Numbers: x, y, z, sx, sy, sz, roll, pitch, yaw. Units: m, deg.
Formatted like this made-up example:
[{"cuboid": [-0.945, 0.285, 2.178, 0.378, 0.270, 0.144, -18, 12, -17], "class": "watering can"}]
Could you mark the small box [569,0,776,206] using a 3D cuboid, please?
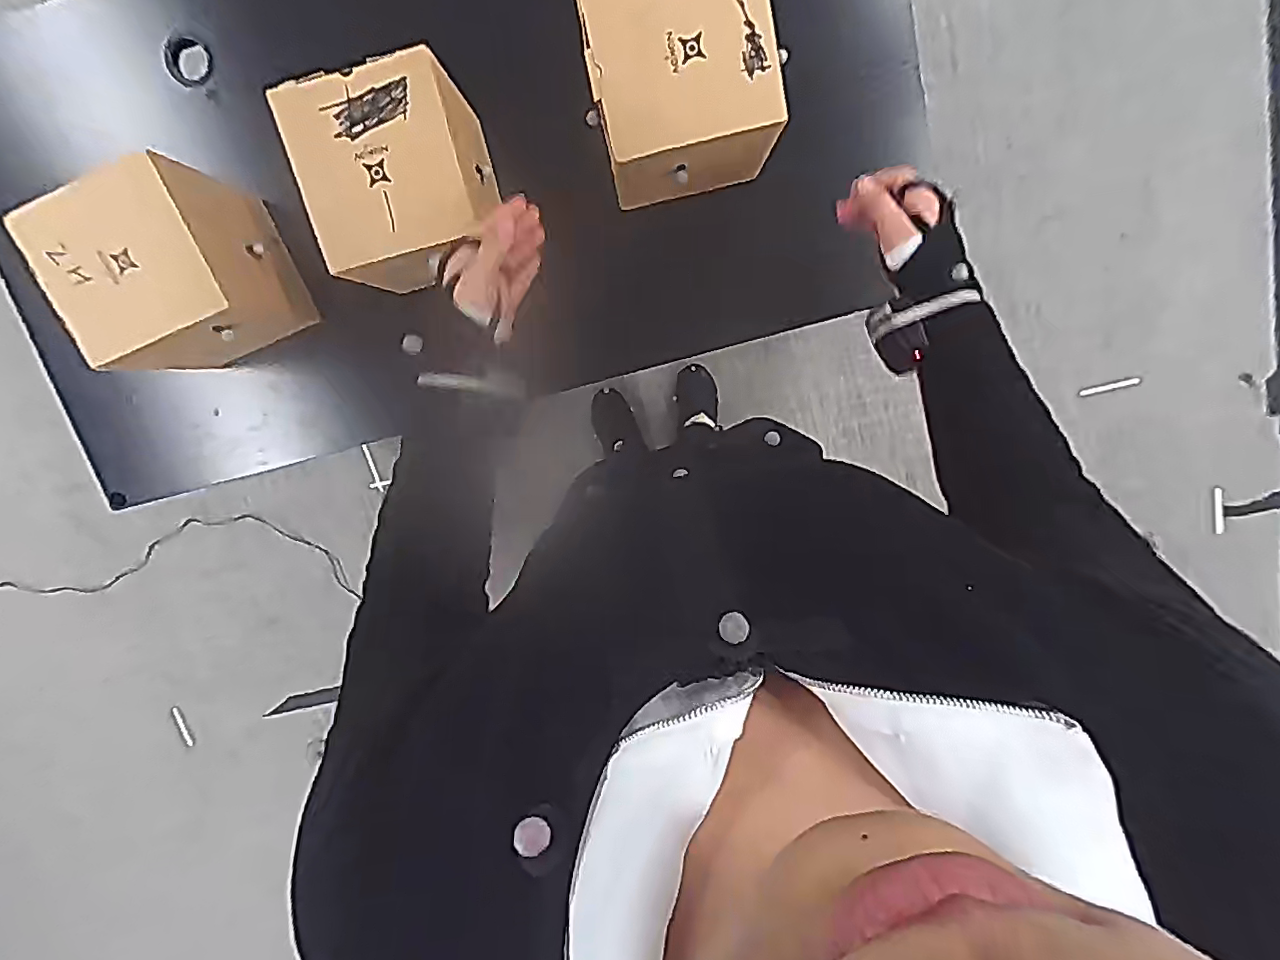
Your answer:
[{"cuboid": [0.036, -0.423, 0.593, 0.179, 0.176, 0.168, -12, 102, 4], "class": "small box"}]

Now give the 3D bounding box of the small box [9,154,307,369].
[{"cuboid": [-0.538, -0.243, 0.641, 0.179, 0.176, 0.168, -22, 101, 6], "class": "small box"}]

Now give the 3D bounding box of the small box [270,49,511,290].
[{"cuboid": [-0.264, -0.332, 0.618, 0.168, 0.176, 0.179, -13, 103, 4], "class": "small box"}]
